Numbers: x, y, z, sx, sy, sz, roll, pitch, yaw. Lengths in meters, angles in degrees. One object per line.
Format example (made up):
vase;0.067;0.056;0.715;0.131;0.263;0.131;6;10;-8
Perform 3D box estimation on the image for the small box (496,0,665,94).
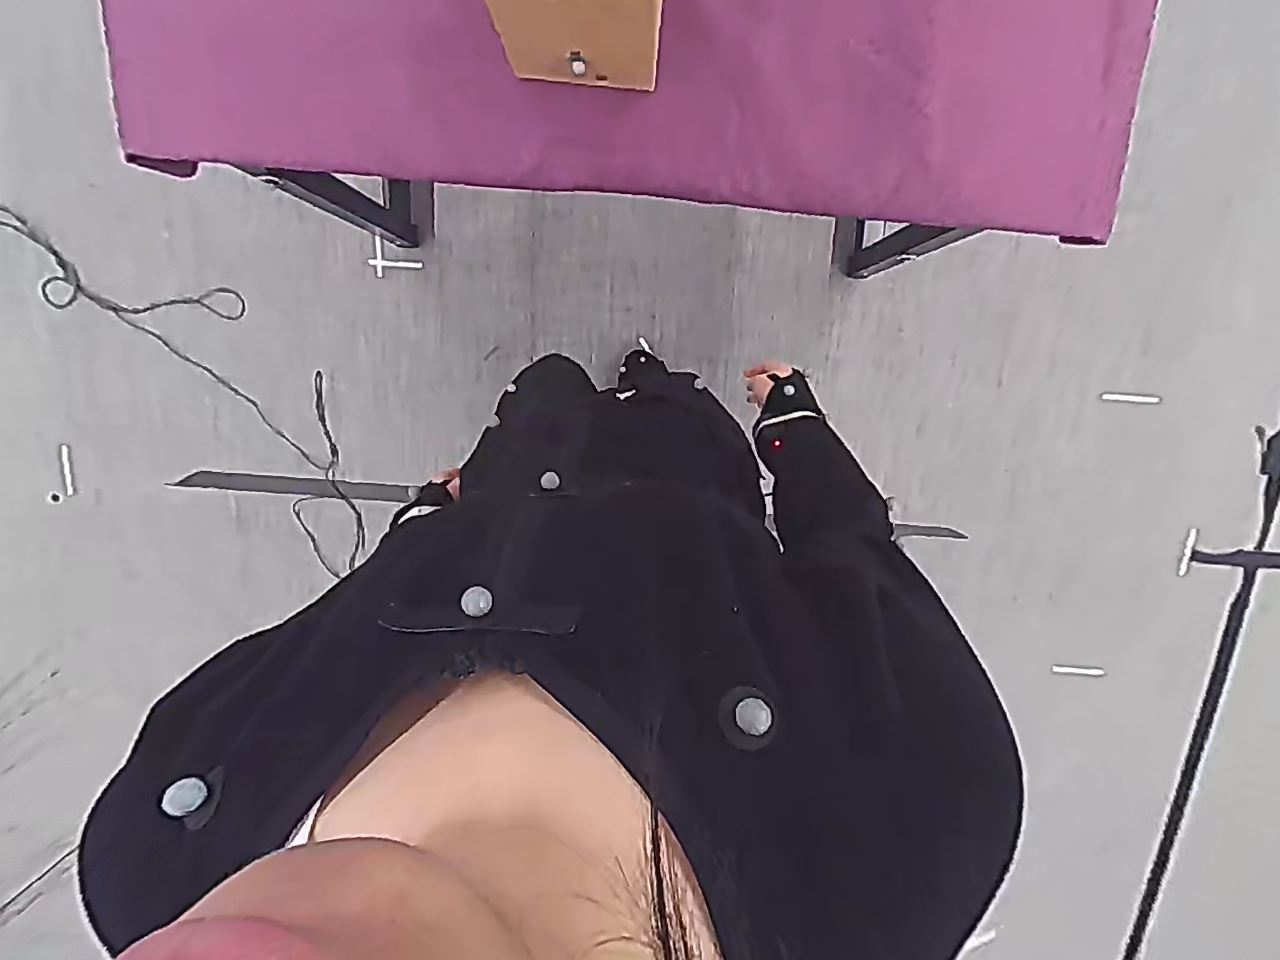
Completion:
small box;-0.055;-0.537;0.546;0.168;0.176;0.179;6;101;-1
